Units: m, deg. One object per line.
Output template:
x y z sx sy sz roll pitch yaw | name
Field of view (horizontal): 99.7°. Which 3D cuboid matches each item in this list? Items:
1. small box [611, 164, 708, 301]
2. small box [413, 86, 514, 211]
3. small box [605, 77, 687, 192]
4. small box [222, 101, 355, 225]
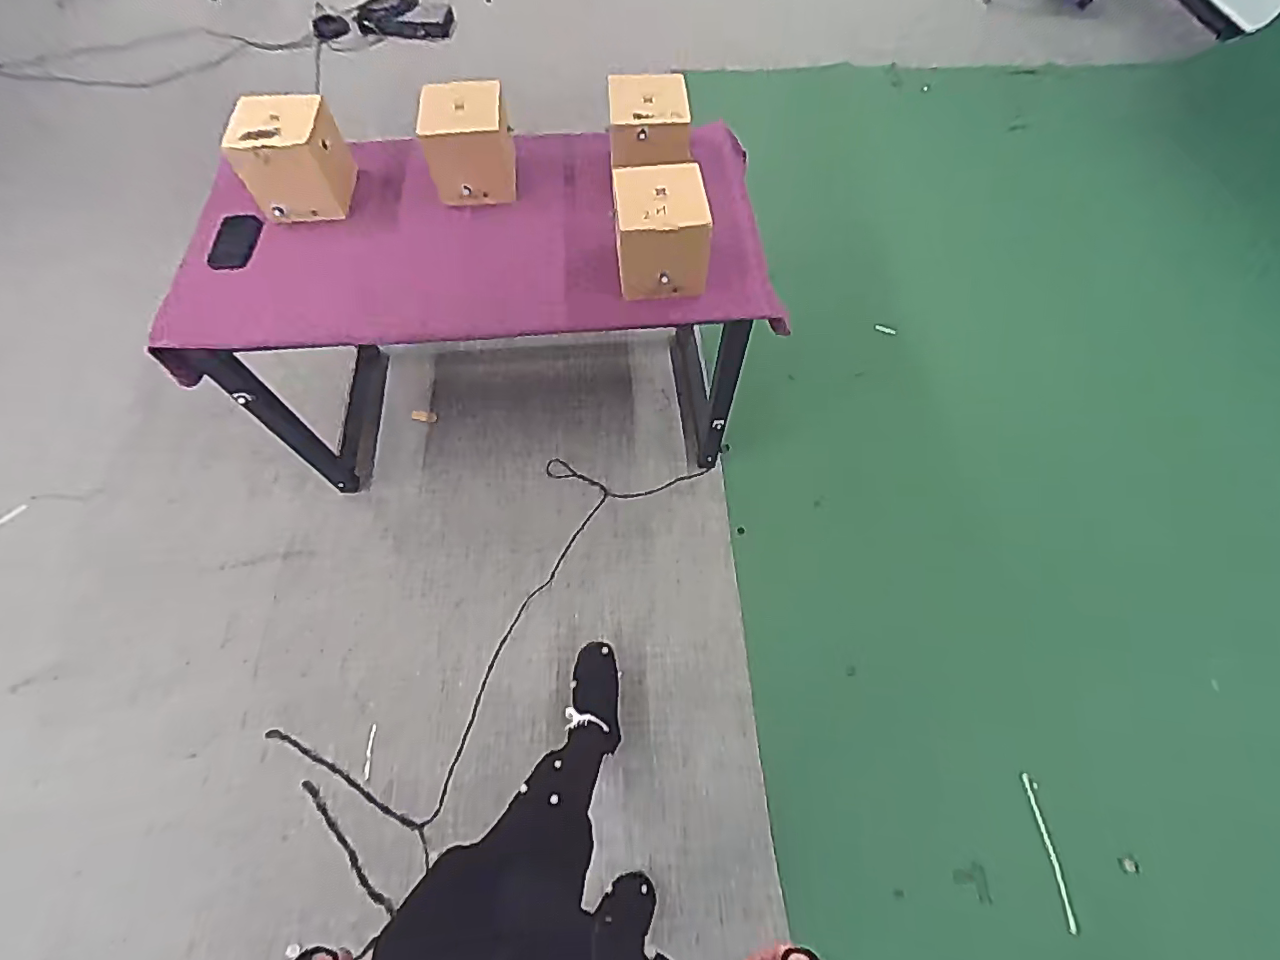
0.033 -0.479 1.056 0.168 0.176 0.179 -6 64 -1 | small box
-0.377 -0.724 1.187 0.168 0.176 0.179 -5 64 -2 | small box
0.010 -0.753 1.198 0.168 0.176 0.179 -4 63 -1 | small box
-0.738 -0.671 1.160 0.168 0.176 0.179 -5 63 -3 | small box
